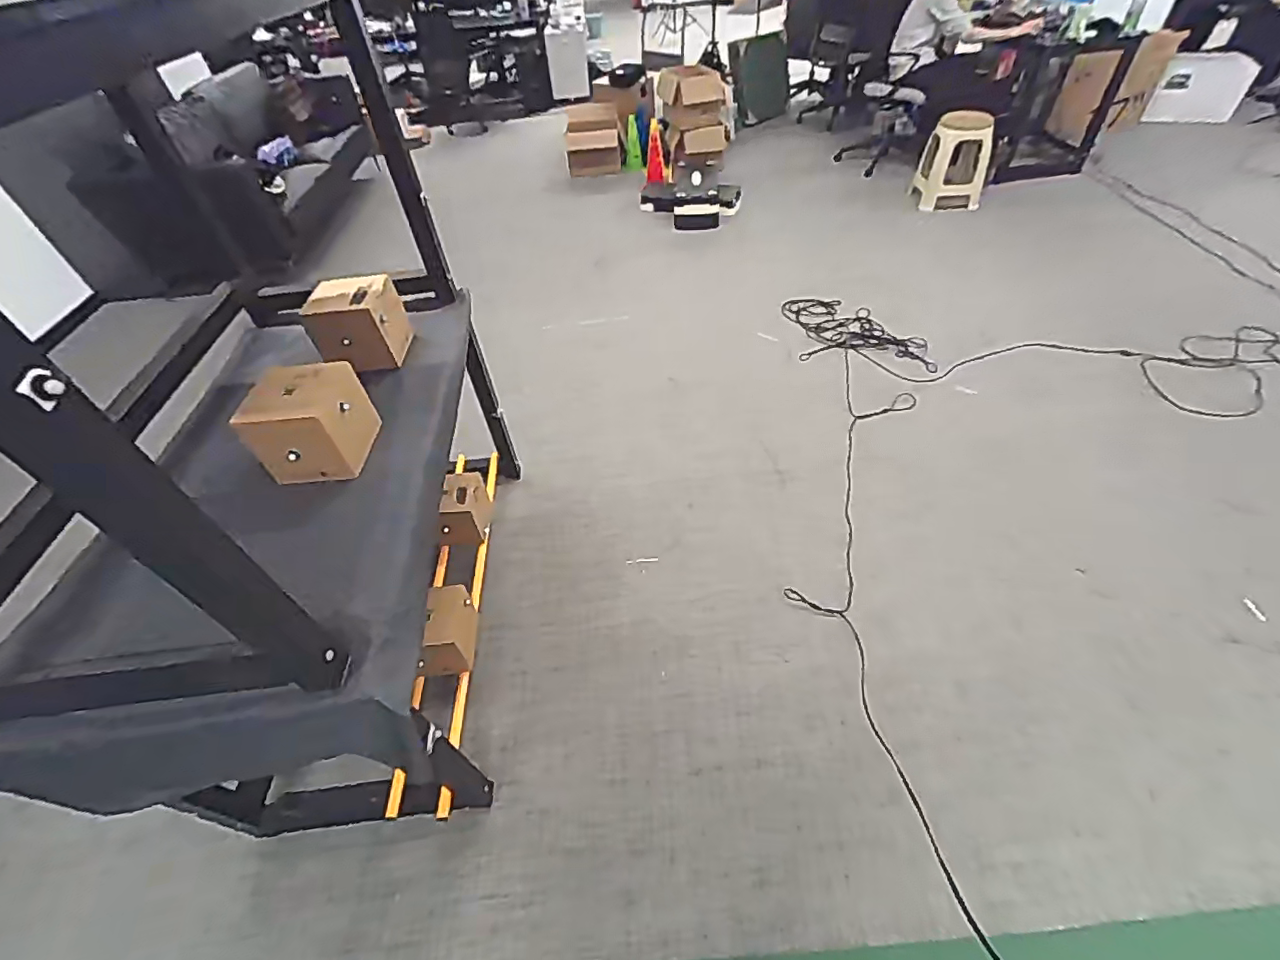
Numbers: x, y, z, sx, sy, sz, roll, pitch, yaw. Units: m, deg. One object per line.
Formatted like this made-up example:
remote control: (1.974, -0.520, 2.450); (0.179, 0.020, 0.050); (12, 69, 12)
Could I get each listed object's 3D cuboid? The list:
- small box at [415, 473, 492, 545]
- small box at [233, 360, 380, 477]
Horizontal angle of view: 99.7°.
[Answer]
small box: (-0.590, 0.095, 1.741); (0.179, 0.176, 0.168); (-4, 46, 1)
small box: (-0.654, -0.118, 1.090); (0.168, 0.176, 0.179); (-4, 47, 1)
